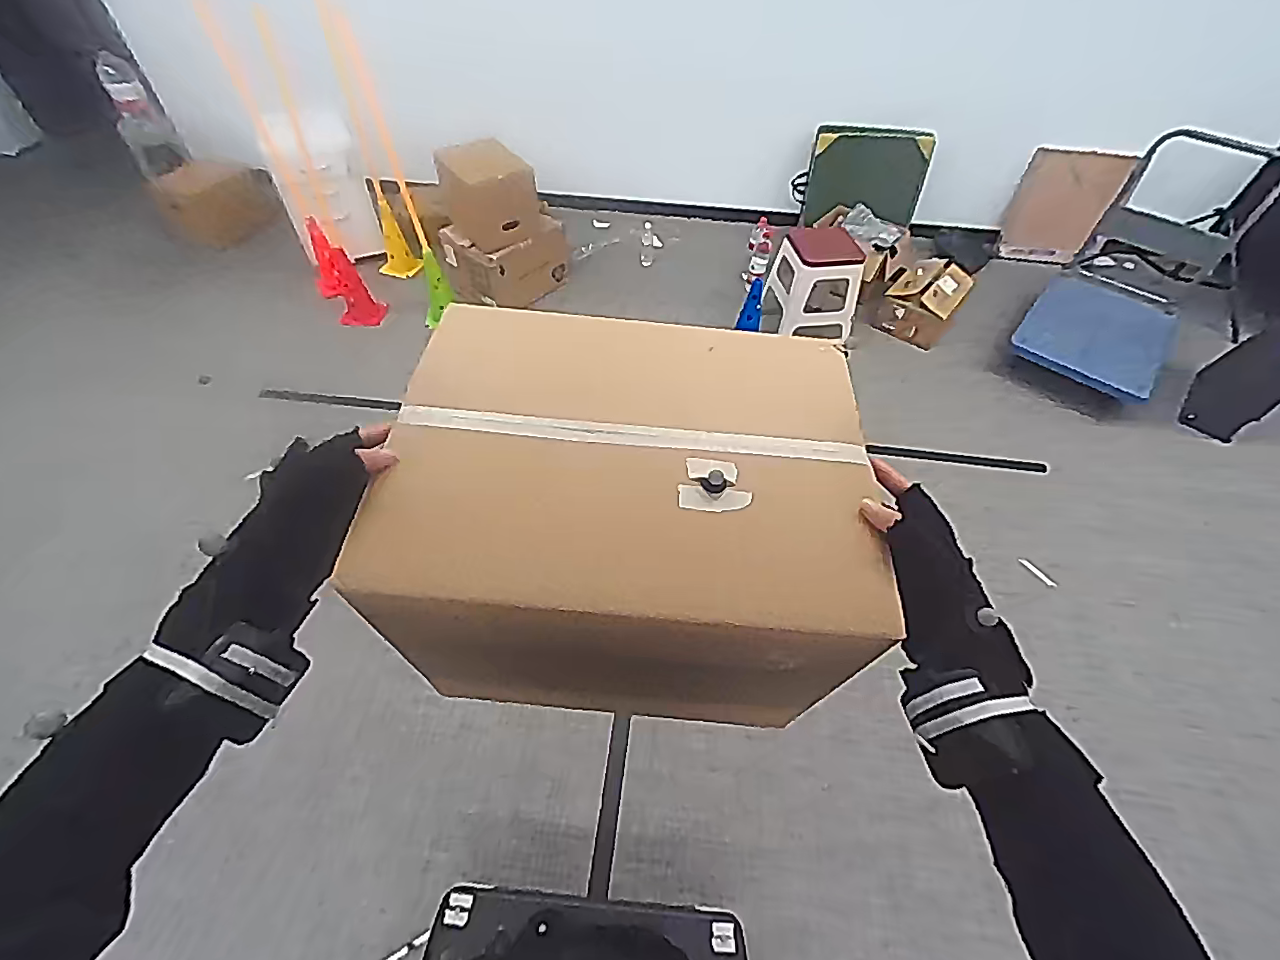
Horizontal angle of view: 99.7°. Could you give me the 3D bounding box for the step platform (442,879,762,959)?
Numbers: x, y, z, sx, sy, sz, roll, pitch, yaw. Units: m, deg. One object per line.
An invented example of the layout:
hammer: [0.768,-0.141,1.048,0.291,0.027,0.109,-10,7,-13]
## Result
step platform: [-0.079,1.059,1.159,0.684,0.204,0.286,5,51,0]

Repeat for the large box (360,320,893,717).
large box: [-0.011,0.057,0.601,0.408,0.320,0.320,6,56,-1]
